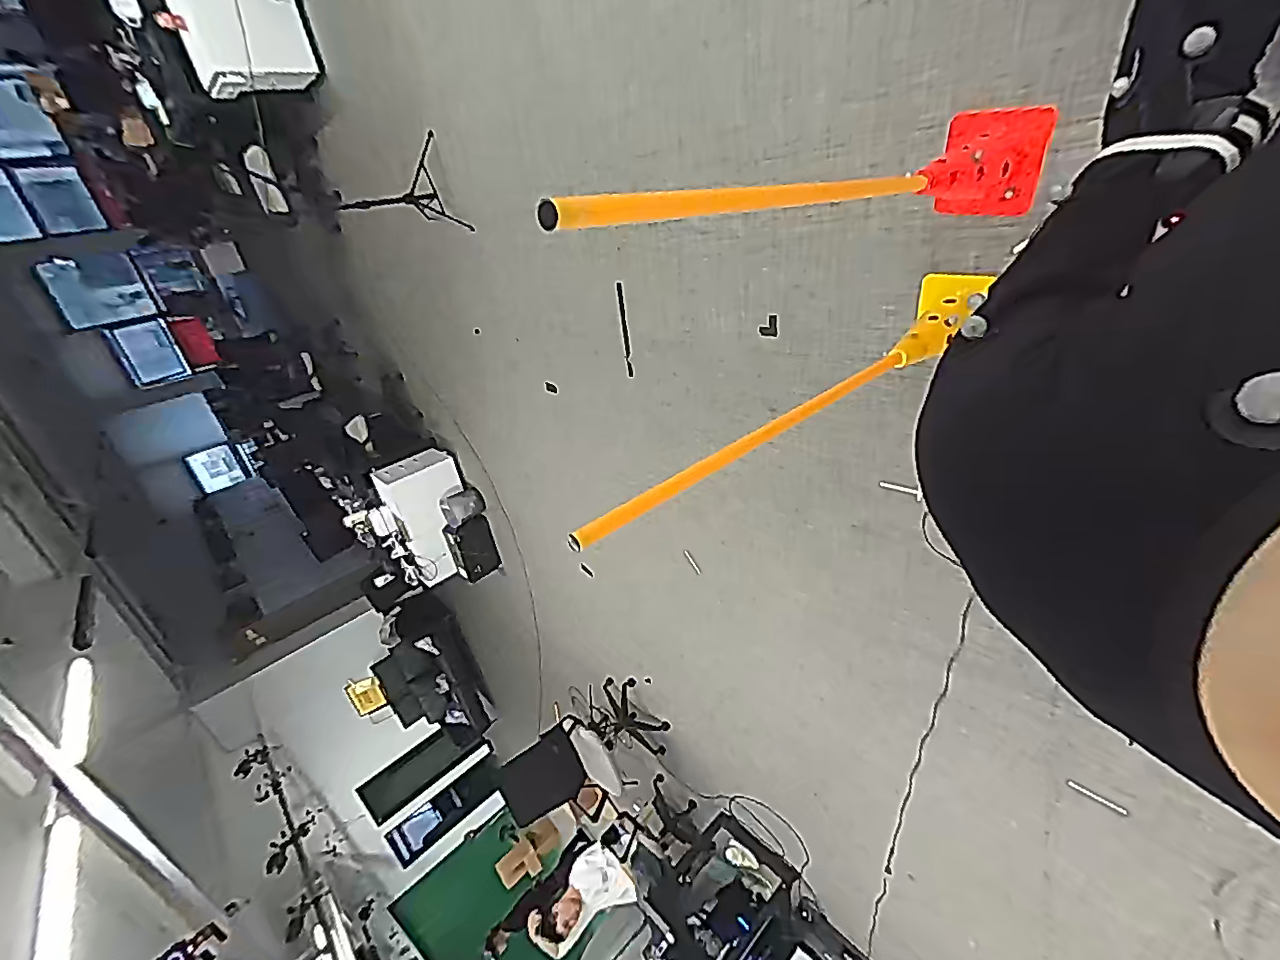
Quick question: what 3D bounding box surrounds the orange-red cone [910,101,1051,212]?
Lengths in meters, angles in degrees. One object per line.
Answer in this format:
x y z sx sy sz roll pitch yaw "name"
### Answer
0.624 -0.623 1.066 0.198 0.360 0.199 27 133 37 "orange-red cone"
